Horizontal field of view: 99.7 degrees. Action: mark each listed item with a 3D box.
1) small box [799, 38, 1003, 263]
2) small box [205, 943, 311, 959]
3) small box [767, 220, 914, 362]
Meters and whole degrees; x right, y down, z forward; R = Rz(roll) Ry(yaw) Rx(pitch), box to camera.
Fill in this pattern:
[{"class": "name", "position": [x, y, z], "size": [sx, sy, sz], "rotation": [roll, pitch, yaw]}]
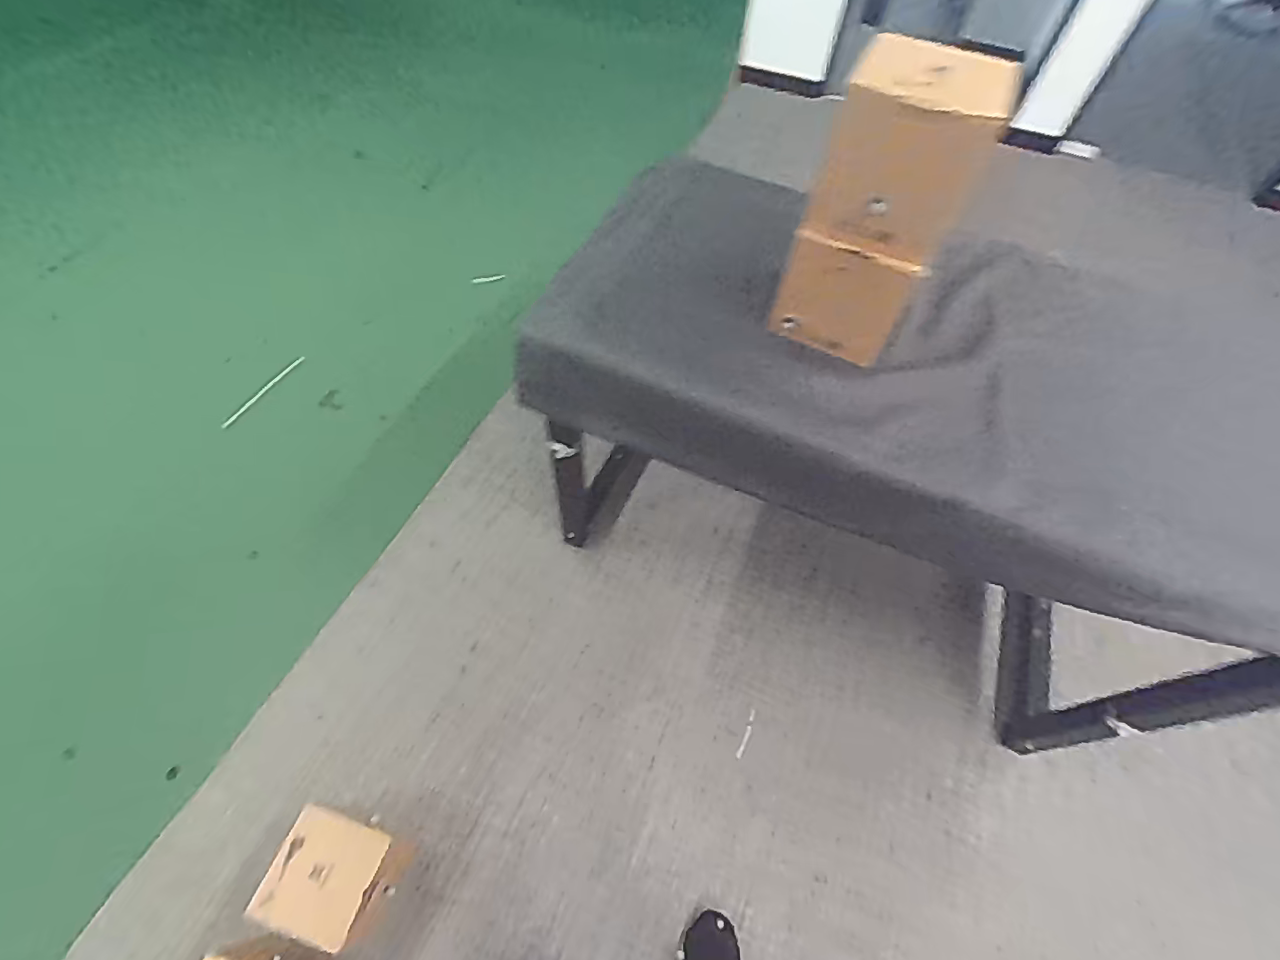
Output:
[{"class": "small box", "position": [0.318, -0.410, 0.680], "size": [0.168, 0.176, 0.179], "rotation": [23, 58, 12]}, {"class": "small box", "position": [-0.618, 0.869, 0.856], "size": [0.179, 0.176, 0.168], "rotation": [15, 56, 7]}, {"class": "small box", "position": [0.304, -0.307, 0.809], "size": [0.168, 0.176, 0.179], "rotation": [25, 58, 12]}]
